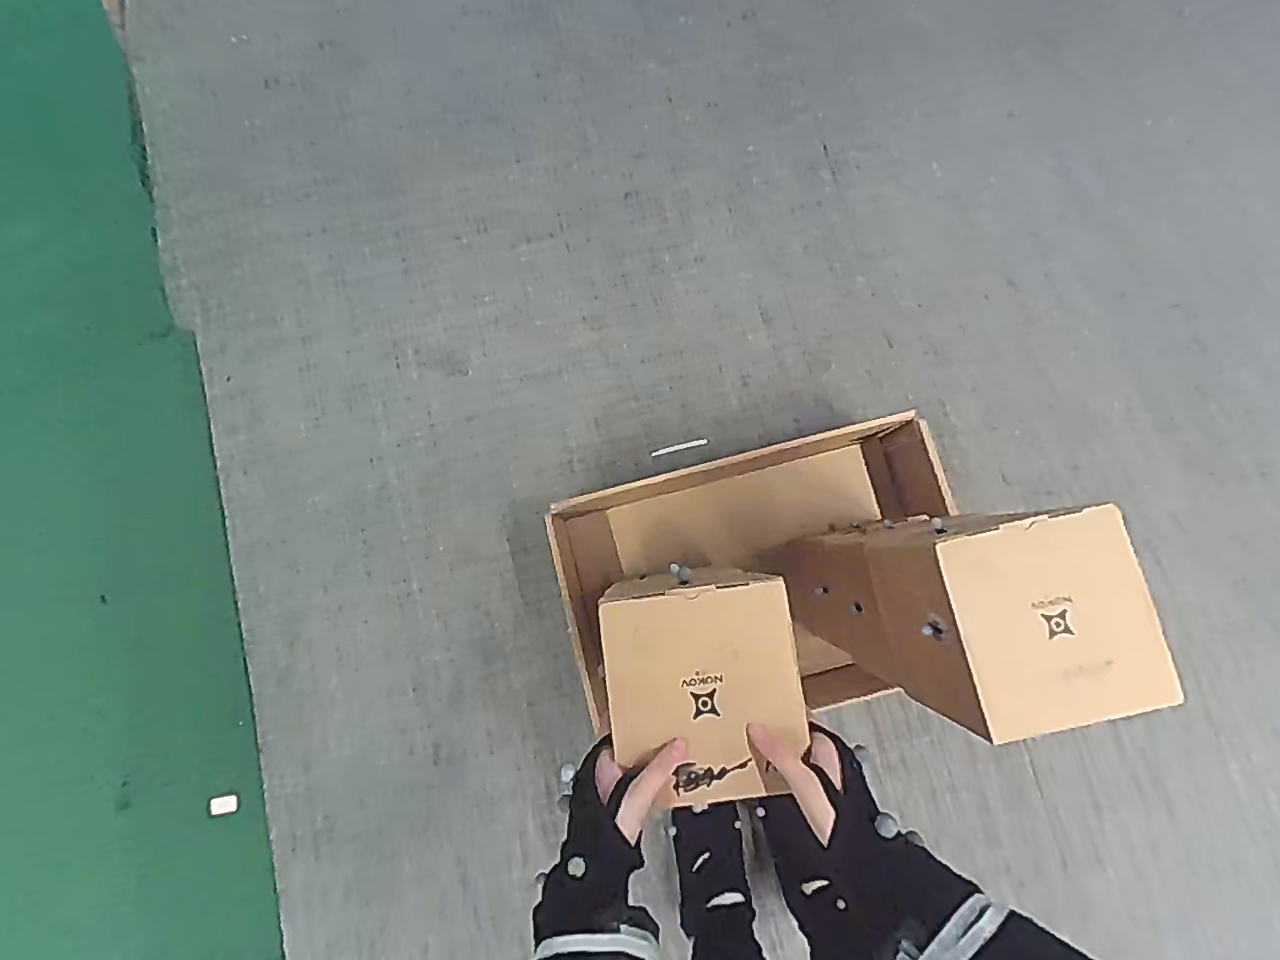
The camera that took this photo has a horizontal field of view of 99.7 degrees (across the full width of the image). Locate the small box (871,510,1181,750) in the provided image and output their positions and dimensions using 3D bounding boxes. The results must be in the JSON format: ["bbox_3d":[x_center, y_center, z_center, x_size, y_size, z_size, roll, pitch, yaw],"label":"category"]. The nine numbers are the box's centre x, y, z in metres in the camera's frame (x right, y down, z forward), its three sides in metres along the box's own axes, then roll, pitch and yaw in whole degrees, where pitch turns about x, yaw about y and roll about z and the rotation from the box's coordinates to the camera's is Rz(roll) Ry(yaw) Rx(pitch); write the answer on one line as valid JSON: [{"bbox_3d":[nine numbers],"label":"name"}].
[{"bbox_3d":[0.356,0.138,0.540,0.168,0.176,0.179,-12,82,1],"label":"small box"}]

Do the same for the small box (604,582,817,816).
[{"bbox_3d":[0.059,0.197,0.536,0.168,0.176,0.179,-7,80,2],"label":"small box"}]

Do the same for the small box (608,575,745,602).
[{"bbox_3d":[0.057,0.221,0.699,0.168,0.176,0.179,-8,80,0],"label":"small box"}]
